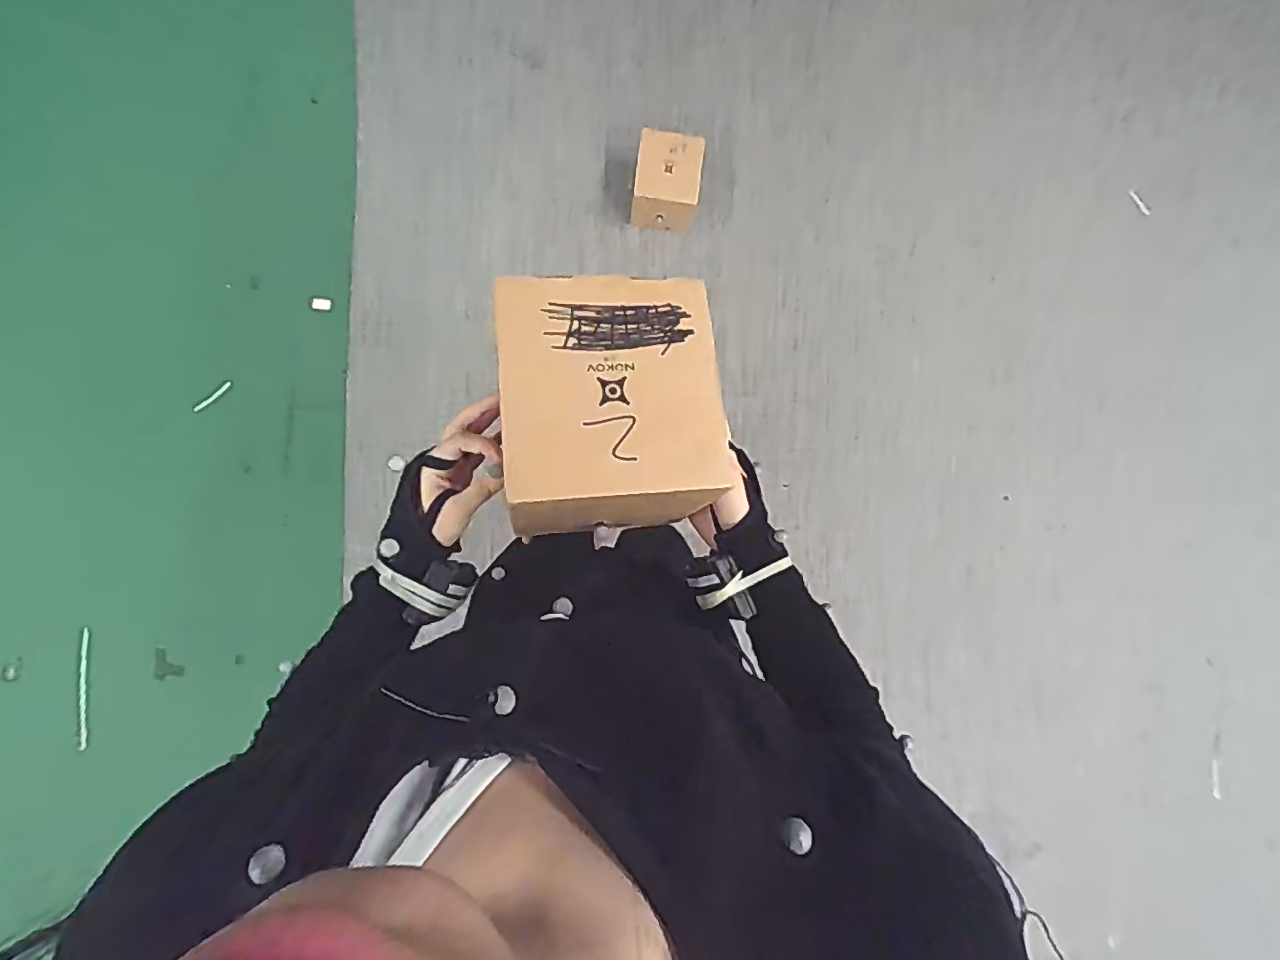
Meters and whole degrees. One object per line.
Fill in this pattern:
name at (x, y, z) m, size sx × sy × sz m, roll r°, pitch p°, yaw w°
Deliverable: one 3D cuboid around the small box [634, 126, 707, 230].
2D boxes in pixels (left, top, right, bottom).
small box at (0.075, -0.792, 1.437) m, size 0.168 × 0.176 × 0.179 m, roll 7°, pitch 90°, yaw -4°
